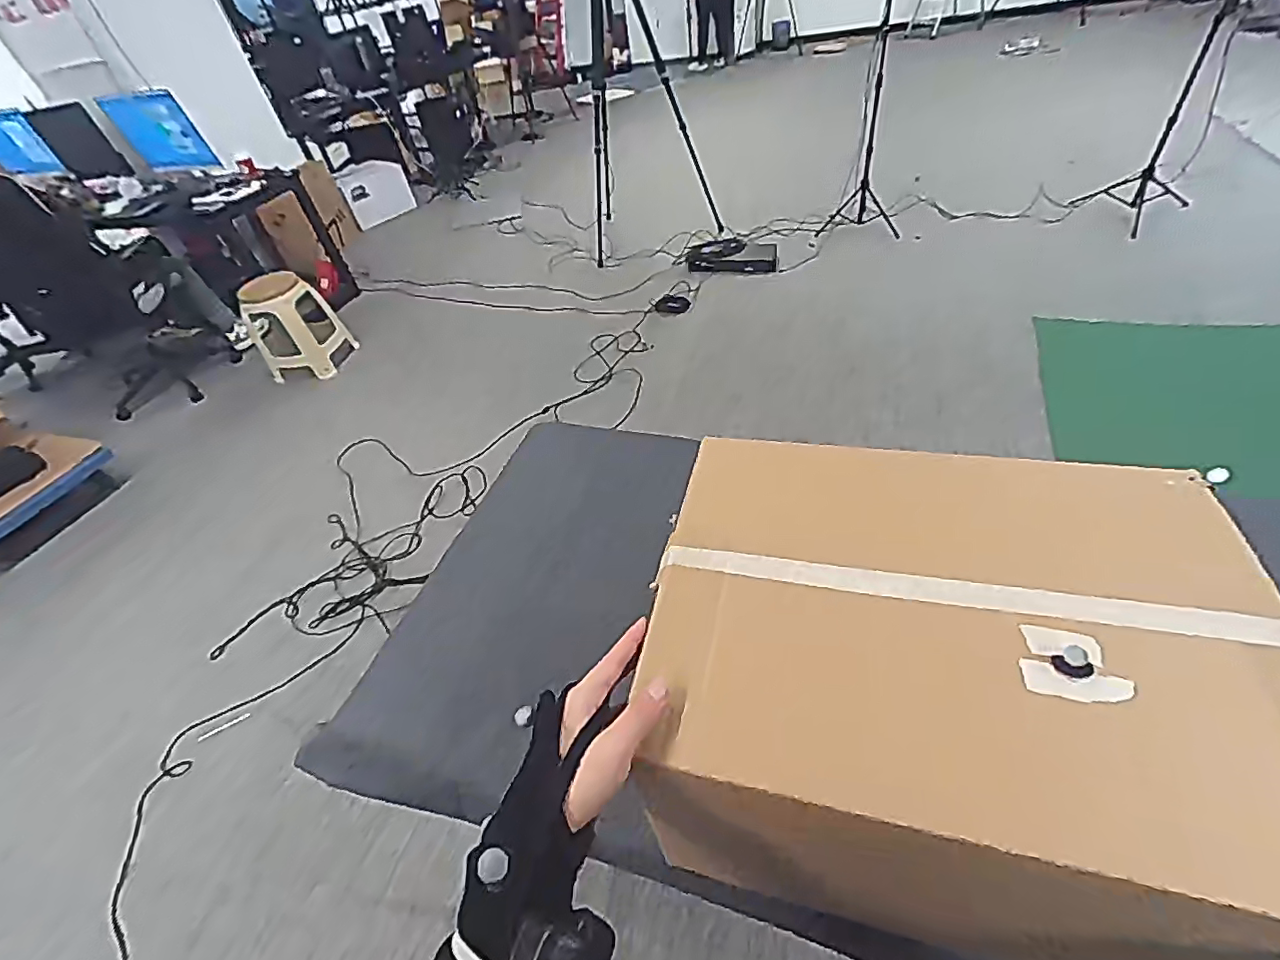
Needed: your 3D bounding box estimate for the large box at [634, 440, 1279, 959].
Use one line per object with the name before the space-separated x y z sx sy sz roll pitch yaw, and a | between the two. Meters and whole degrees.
large box | 0.236 0.188 0.505 0.408 0.320 0.320 6 47 15
